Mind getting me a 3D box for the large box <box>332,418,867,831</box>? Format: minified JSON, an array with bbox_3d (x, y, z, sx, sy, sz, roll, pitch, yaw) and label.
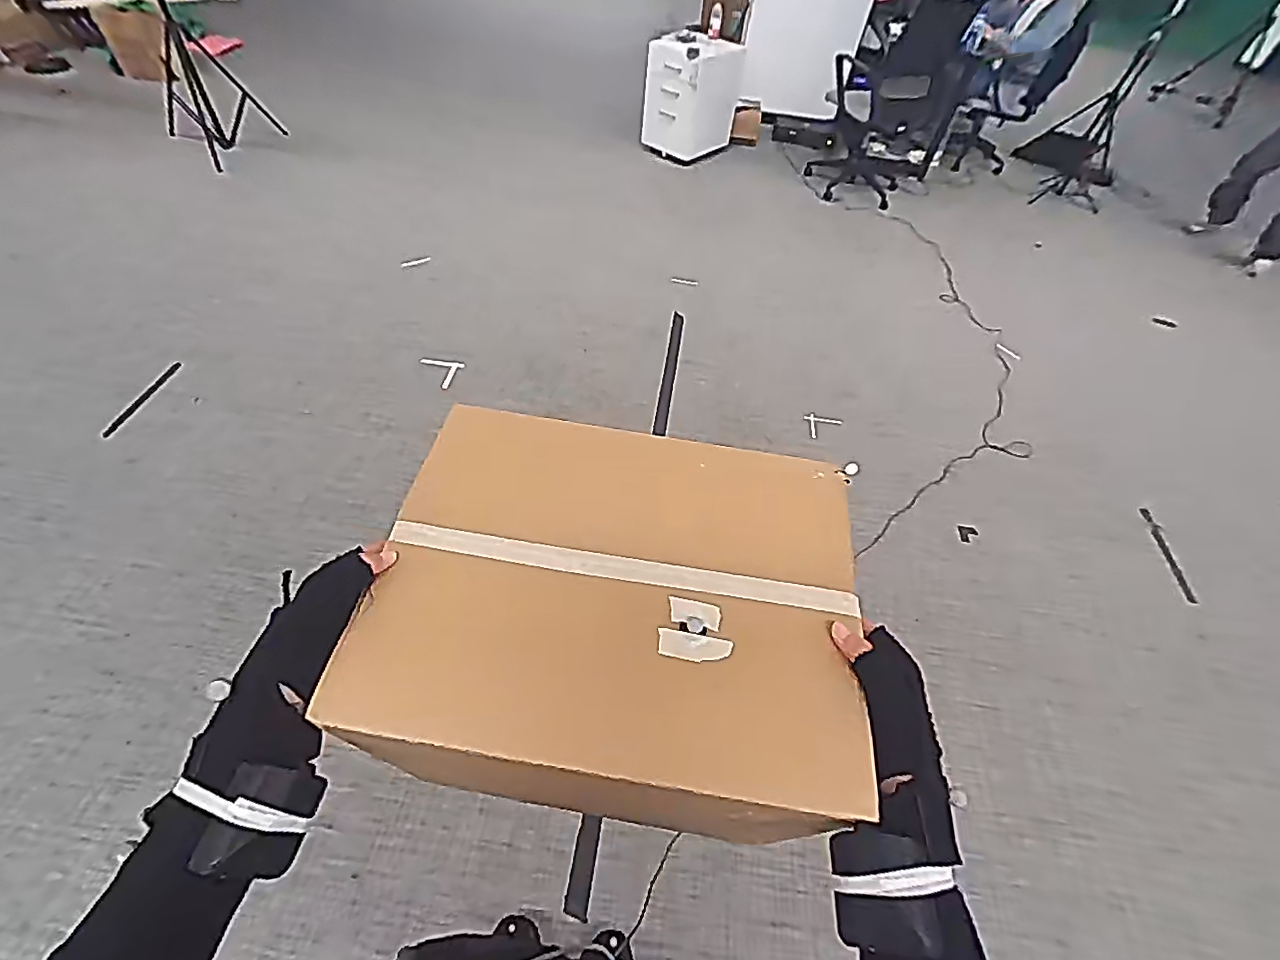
[{"bbox_3d":[-0.024,0.169,0.598,0.408,0.320,0.320,9,55,2],"label":"large box"}]
